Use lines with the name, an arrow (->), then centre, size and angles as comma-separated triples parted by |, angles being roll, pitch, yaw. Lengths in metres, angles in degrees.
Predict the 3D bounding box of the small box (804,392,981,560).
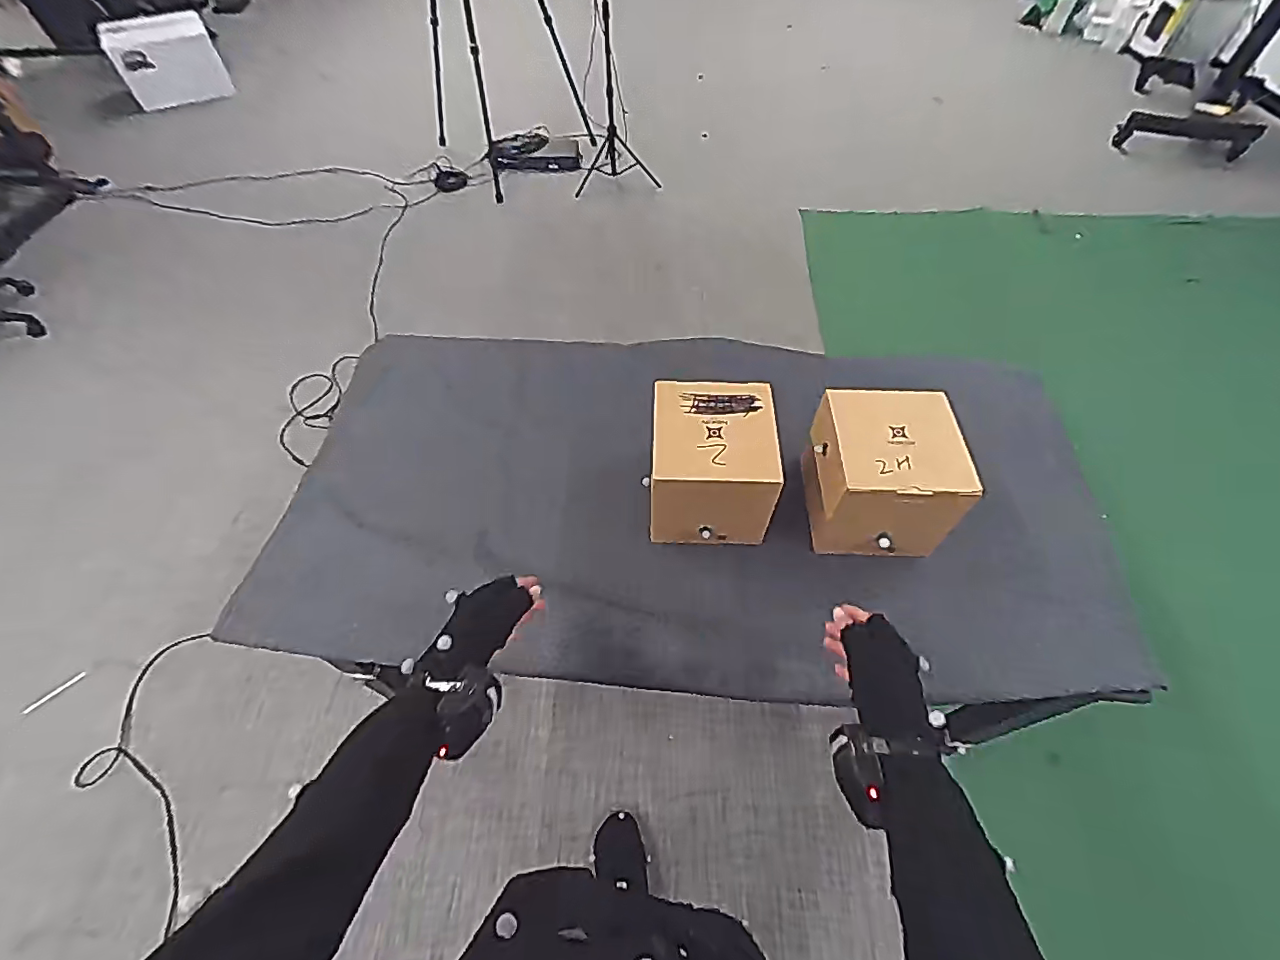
small box -> 0.342, -0.005, 0.777 | 0.168, 0.176, 0.179 | 1, 54, 3
